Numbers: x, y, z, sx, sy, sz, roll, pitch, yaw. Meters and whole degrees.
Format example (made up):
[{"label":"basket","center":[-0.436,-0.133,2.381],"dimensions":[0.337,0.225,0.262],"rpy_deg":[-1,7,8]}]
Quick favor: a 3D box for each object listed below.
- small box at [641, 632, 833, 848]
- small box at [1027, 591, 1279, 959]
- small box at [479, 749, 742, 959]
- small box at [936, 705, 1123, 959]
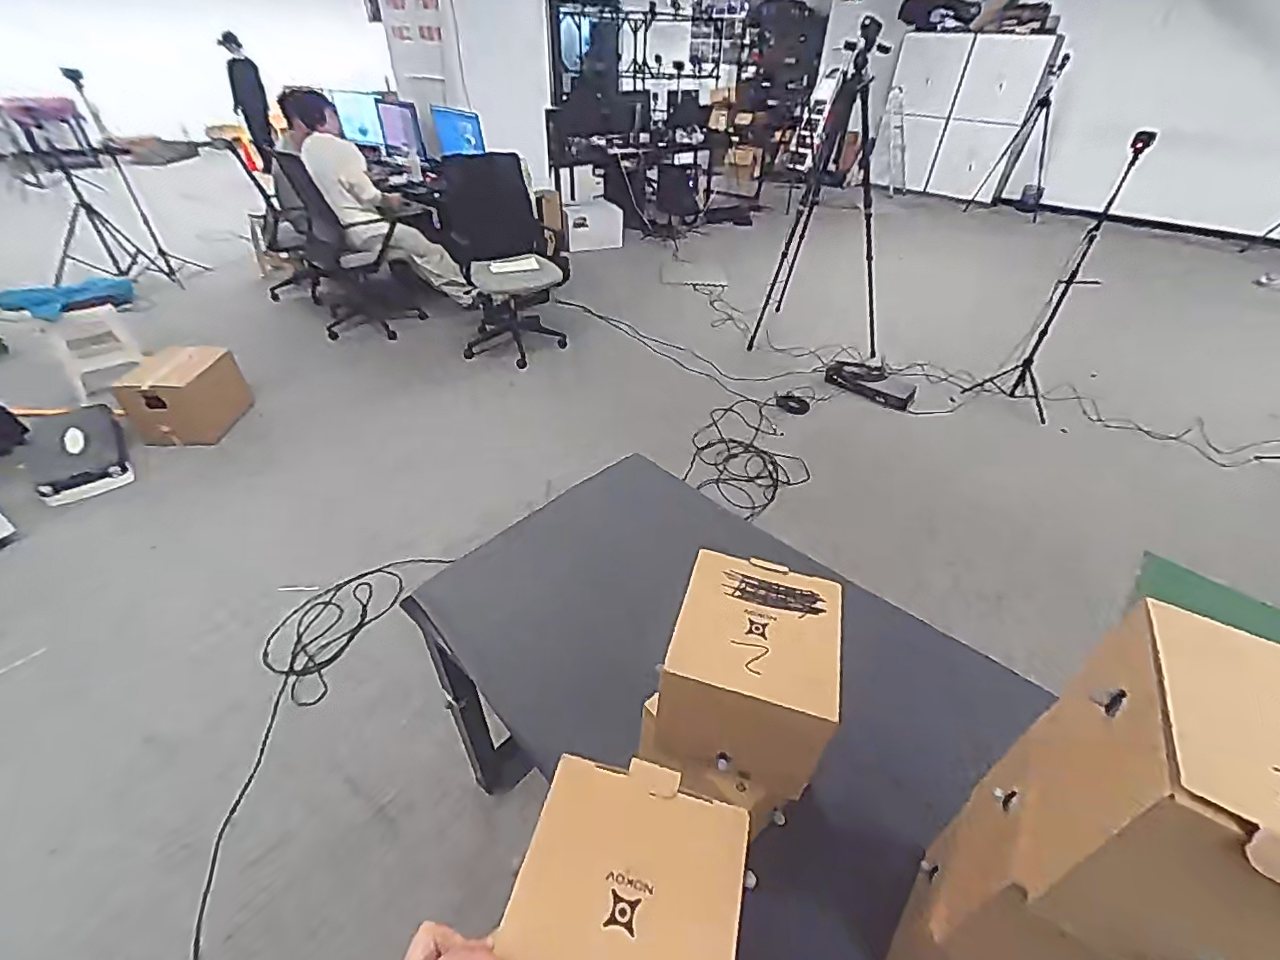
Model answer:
[{"label":"small box","center":[0.116,0.344,0.709],"dimensions":[0.179,0.176,0.168],"rpy_deg":[-25,45,-33]},{"label":"small box","center":[0.383,0.214,0.352],"dimensions":[0.168,0.176,0.179],"rpy_deg":[22,40,27]},{"label":"small box","center":[-0.019,0.365,0.447],"dimensions":[0.168,0.176,0.179],"rpy_deg":[12,41,9]},{"label":"small box","center":[0.379,0.342,0.457],"dimensions":[0.168,0.176,0.179],"rpy_deg":[26,42,29]}]
